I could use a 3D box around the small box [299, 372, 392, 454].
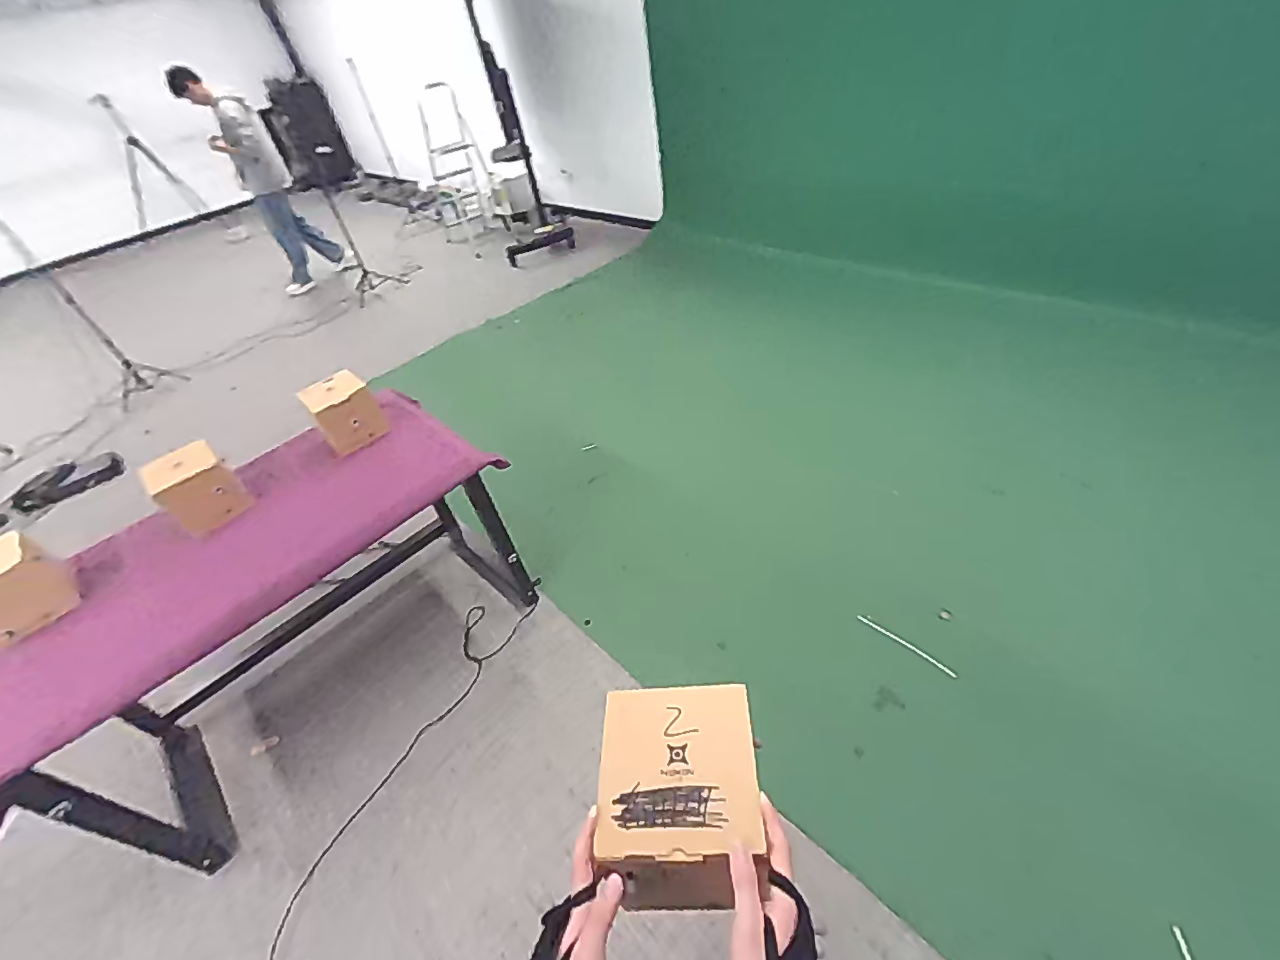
[{"bbox_3d":[-0.903,-0.202,1.671,0.168,0.176,0.179,-38,49,-26],"label":"small box"}]

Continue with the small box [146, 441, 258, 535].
[{"bbox_3d":[-1.203,0.027,1.495,0.179,0.176,0.168,29,56,36],"label":"small box"}]

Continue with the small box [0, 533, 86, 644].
[{"bbox_3d":[-1.493,0.266,1.299,0.179,0.176,0.168,28,55,36],"label":"small box"}]
